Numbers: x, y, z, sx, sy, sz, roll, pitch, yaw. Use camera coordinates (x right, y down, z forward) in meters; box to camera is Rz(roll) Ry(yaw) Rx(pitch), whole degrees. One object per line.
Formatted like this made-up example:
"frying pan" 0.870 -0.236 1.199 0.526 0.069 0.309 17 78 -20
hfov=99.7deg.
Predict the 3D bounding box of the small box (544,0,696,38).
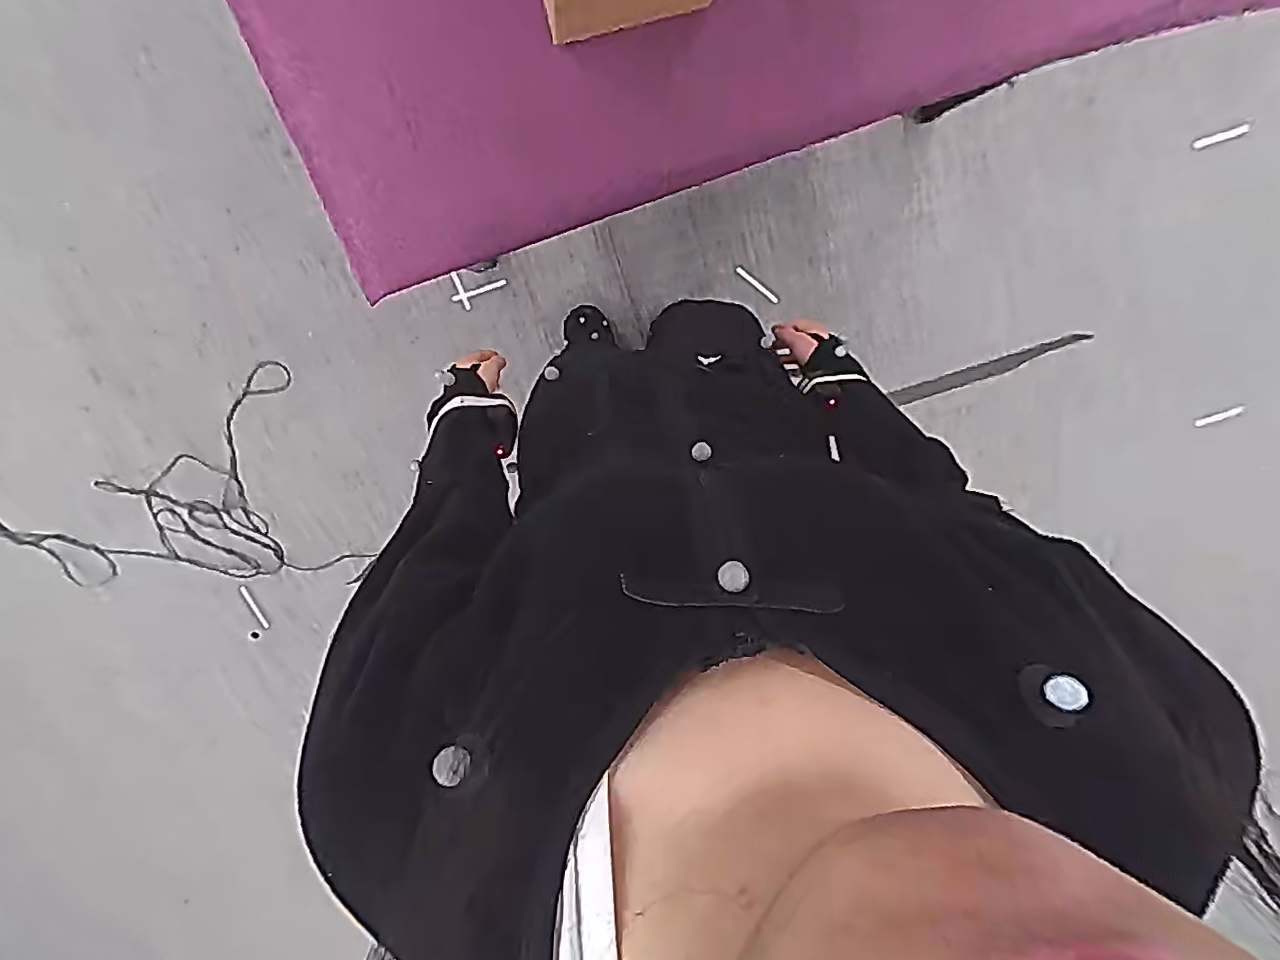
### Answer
"small box" -0.017 -0.539 0.478 0.179 0.176 0.168 -15 109 -1

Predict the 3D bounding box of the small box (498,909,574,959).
"small box" -0.298 1.384 1.550 0.179 0.176 0.168 29 102 -14
